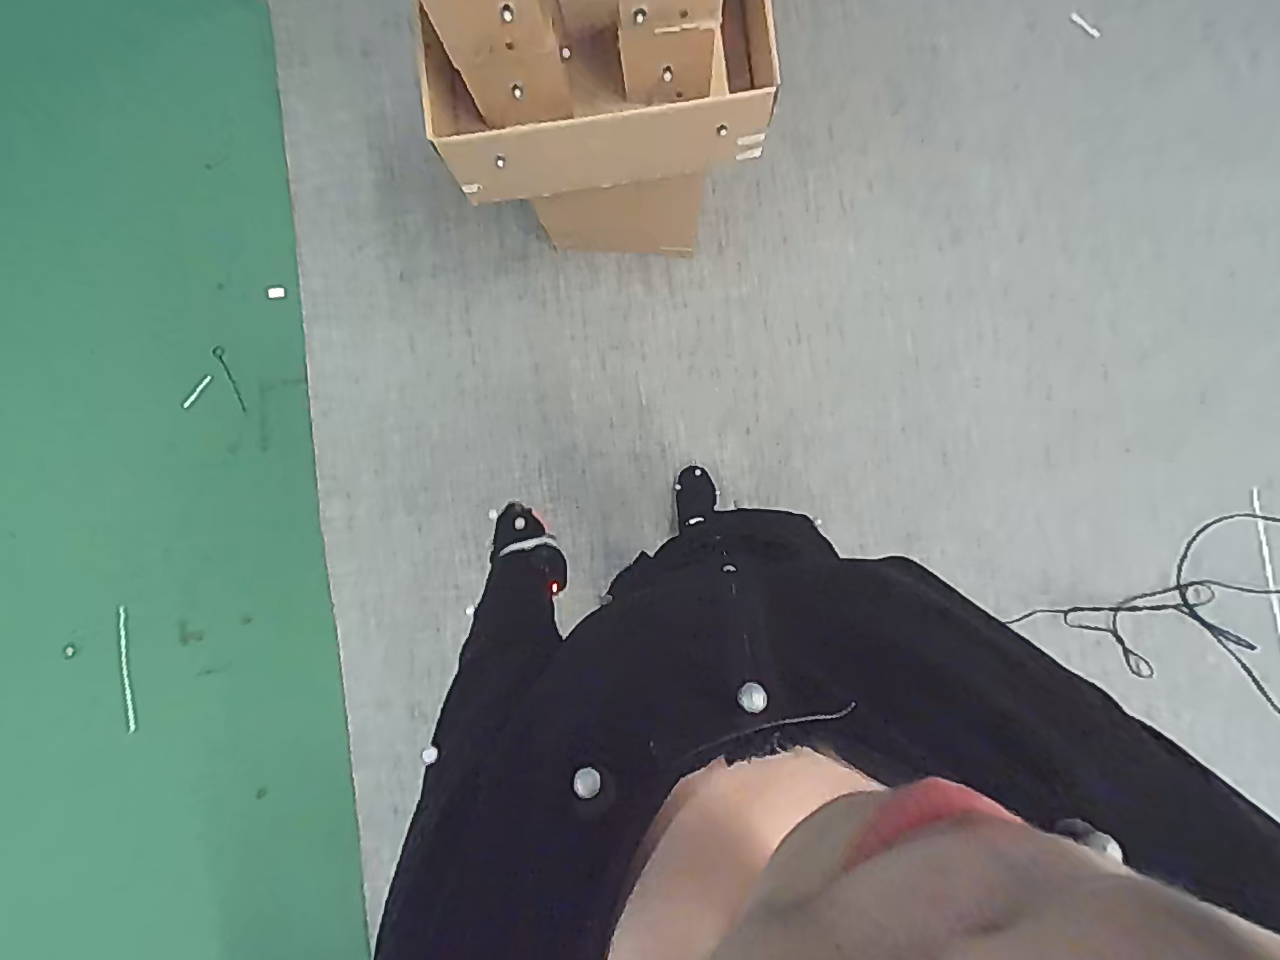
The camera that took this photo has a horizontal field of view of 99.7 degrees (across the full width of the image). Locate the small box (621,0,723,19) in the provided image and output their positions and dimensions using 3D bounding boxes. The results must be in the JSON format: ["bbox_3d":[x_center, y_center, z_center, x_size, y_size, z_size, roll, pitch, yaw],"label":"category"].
[{"bbox_3d":[0.043,-0.838,0.808,0.168,0.176,0.179,-3,87,5],"label":"small box"}]

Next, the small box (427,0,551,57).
[{"bbox_3d":[-0.239,-0.795,0.830,0.168,0.176,0.179,-5,88,4],"label":"small box"}]
